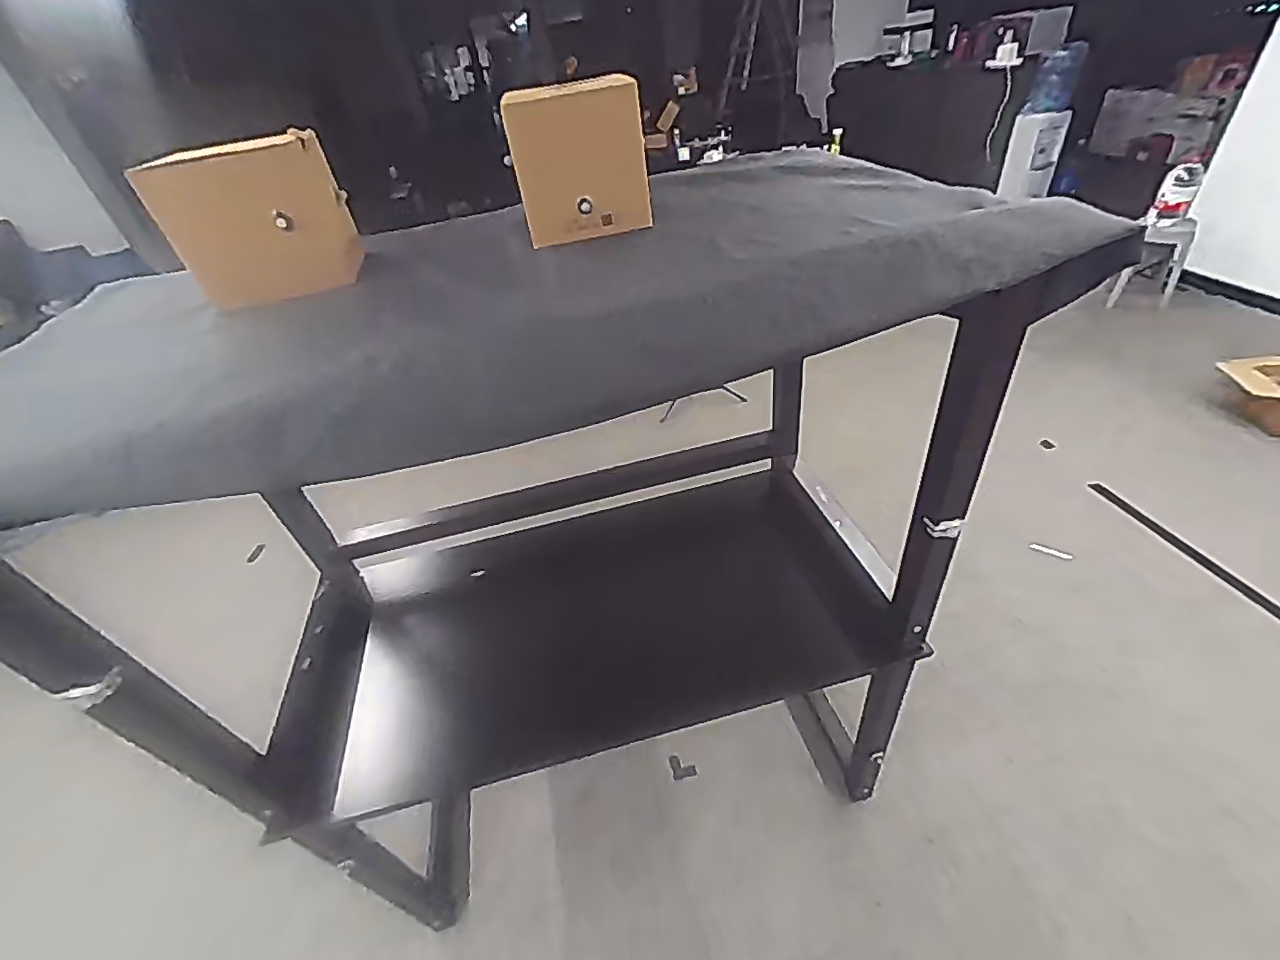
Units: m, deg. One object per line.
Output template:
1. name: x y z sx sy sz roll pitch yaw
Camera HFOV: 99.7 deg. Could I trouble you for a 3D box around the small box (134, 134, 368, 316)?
1. small box: -0.488 -0.340 0.718 0.179 0.176 0.168 -15 39 -8
